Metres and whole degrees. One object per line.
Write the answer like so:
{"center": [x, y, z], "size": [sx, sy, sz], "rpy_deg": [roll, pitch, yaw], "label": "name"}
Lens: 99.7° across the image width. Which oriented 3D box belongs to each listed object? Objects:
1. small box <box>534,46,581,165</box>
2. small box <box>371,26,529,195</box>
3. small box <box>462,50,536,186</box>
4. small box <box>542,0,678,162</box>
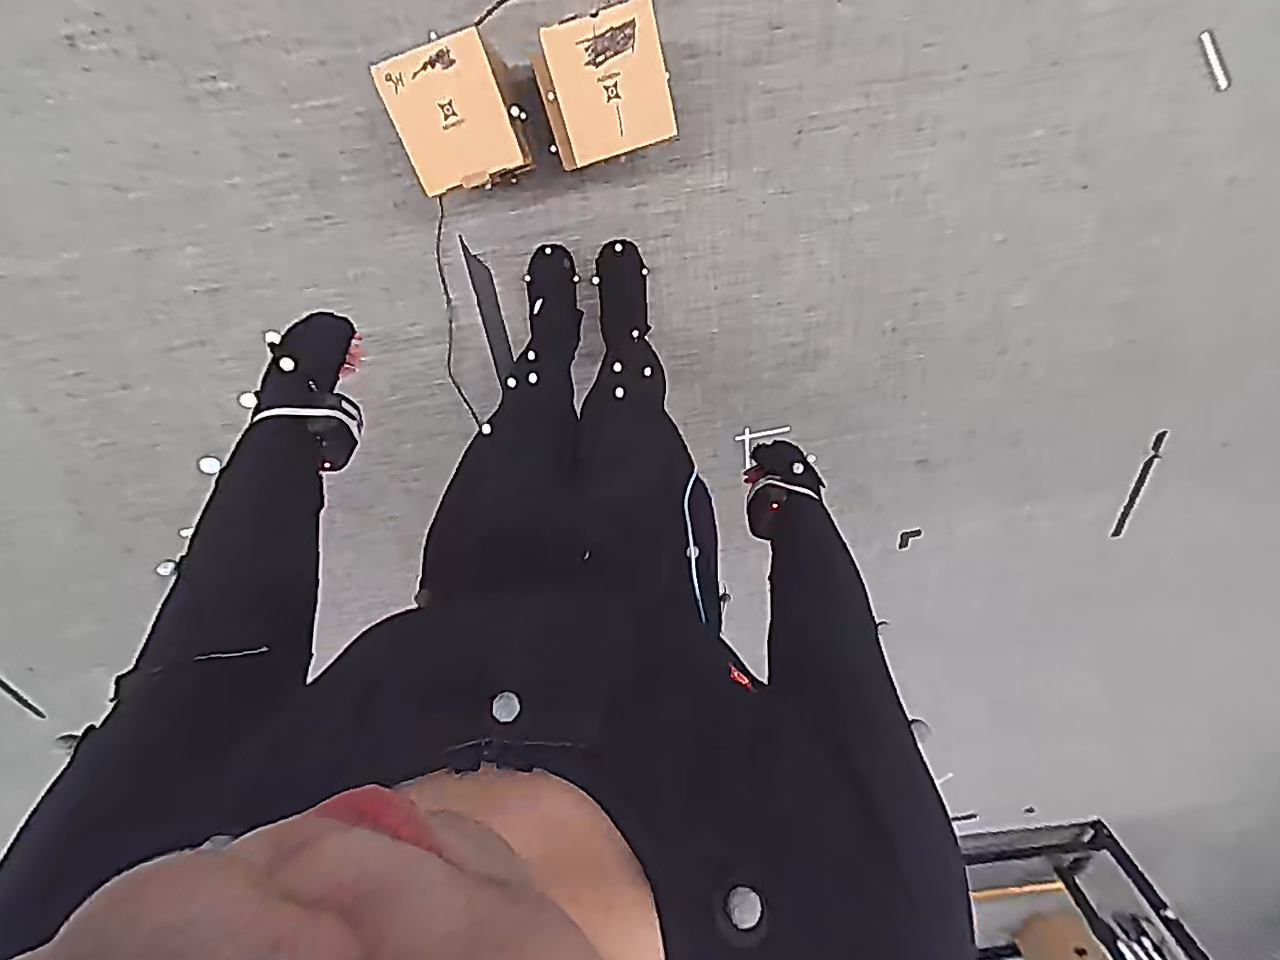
{"center": [-0.087, -0.705, 1.003], "size": [0.168, 0.176, 0.179], "rpy_deg": [-16, 123, 4], "label": "small box"}
{"center": [-0.286, -0.583, 0.865], "size": [0.168, 0.176, 0.179], "rpy_deg": [-17, 123, 4], "label": "small box"}
{"center": [-0.300, -0.665, 1.007], "size": [0.168, 0.176, 0.179], "rpy_deg": [-13, 122, 2], "label": "small box"}
{"center": [-0.048, -0.628, 0.861], "size": [0.168, 0.176, 0.179], "rpy_deg": [-15, 123, 4], "label": "small box"}
